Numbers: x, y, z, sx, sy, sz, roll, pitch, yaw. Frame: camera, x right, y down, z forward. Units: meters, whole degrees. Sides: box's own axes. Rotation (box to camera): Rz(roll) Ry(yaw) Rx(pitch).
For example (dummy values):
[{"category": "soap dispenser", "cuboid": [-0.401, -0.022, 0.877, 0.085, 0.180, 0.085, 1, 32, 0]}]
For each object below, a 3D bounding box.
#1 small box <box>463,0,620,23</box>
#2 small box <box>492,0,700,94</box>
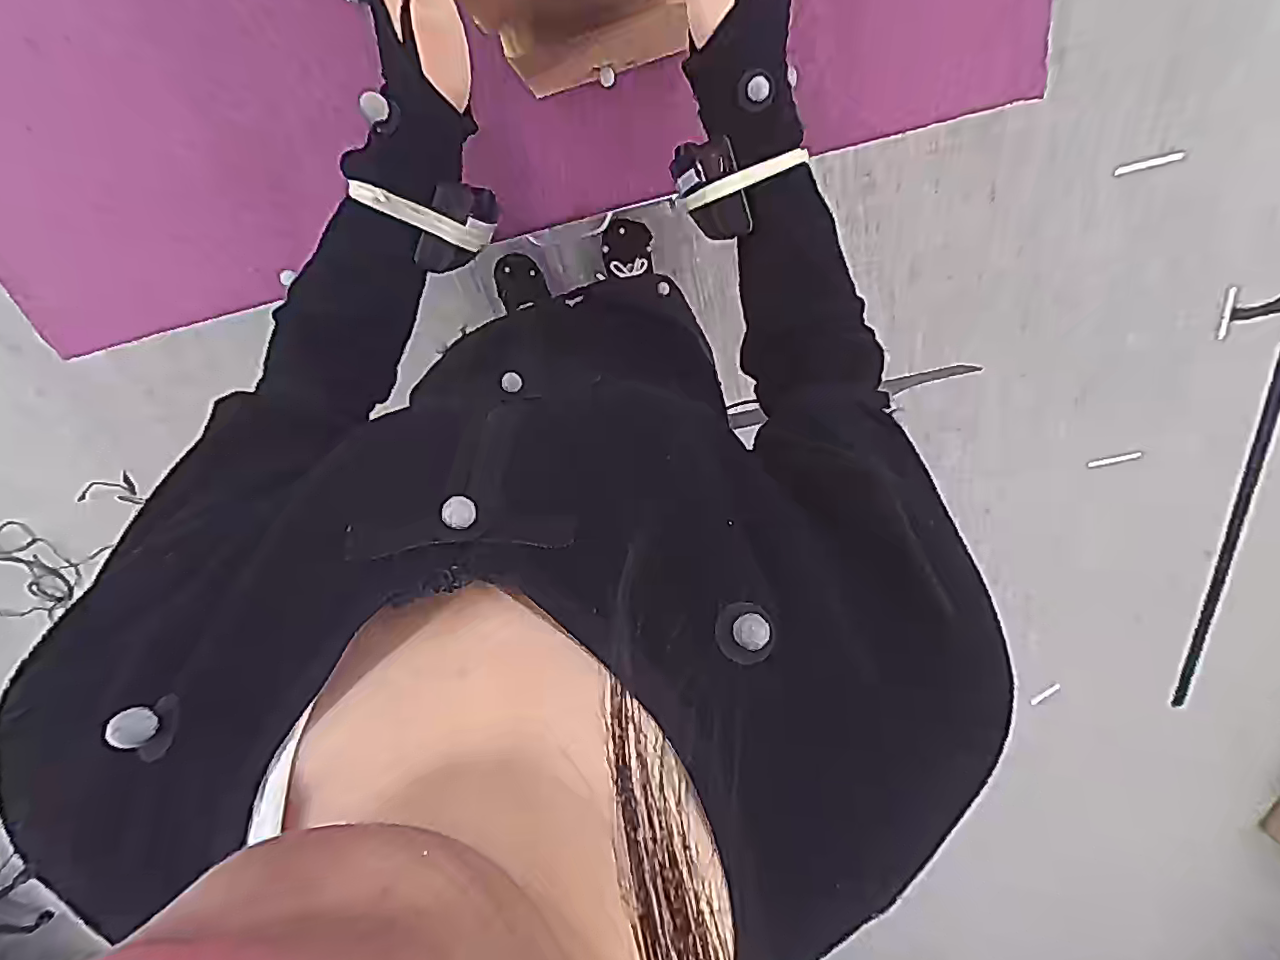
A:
[{"category": "small box", "cuboid": [-0.050, -0.399, 0.309, 0.179, 0.176, 0.168, -9, 117, 4]}, {"category": "small box", "cuboid": [-0.054, -0.464, 0.458, 0.168, 0.176, 0.179, -13, 117, 6]}]
